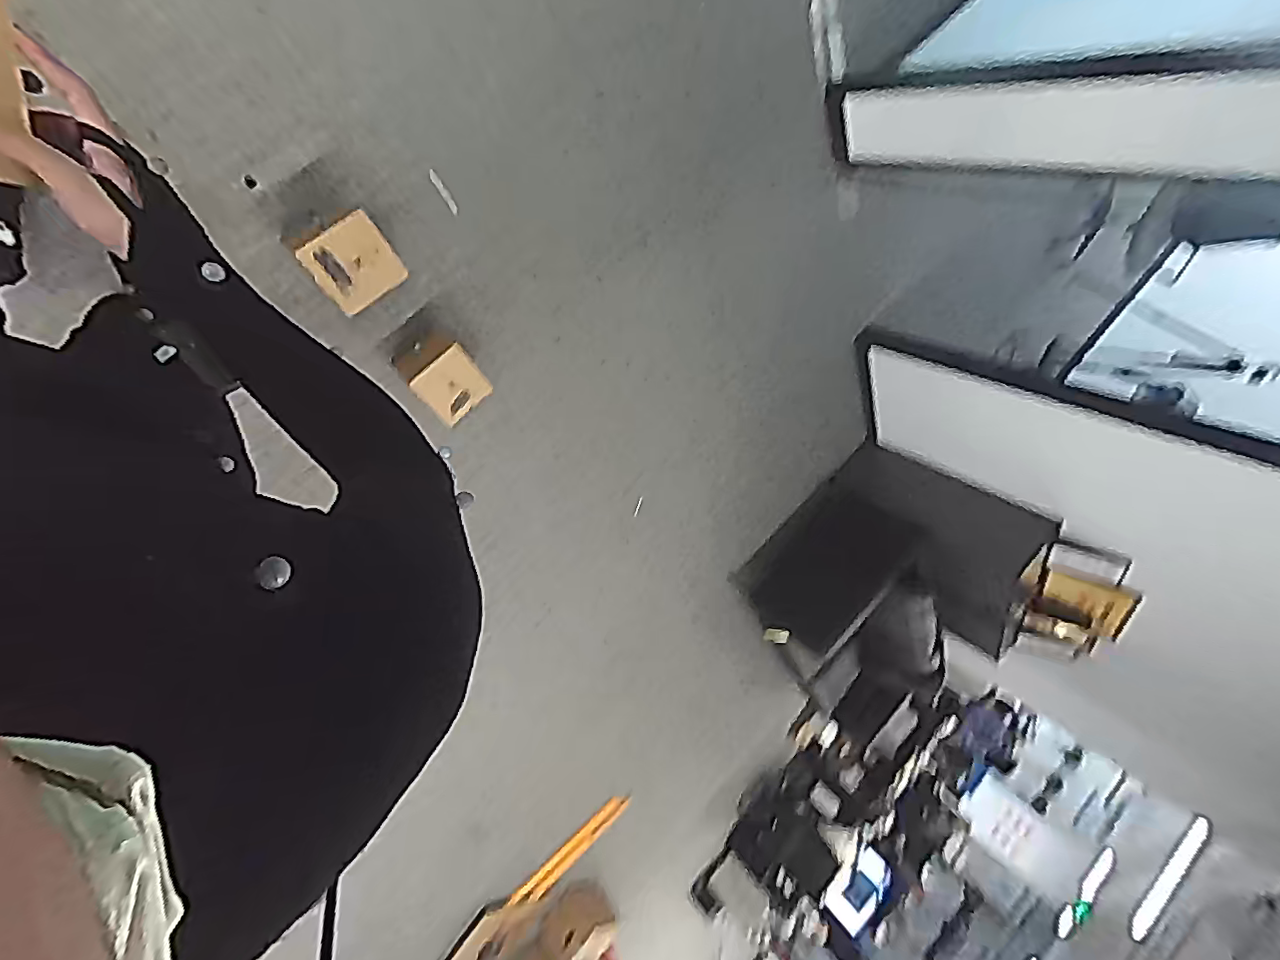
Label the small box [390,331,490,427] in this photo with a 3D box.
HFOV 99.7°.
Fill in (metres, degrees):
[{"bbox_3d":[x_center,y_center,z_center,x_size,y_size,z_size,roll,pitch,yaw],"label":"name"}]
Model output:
[{"bbox_3d":[-0.558,-0.287,1.510,0.168,0.176,0.179,-44,136,-11],"label":"small box"}]
